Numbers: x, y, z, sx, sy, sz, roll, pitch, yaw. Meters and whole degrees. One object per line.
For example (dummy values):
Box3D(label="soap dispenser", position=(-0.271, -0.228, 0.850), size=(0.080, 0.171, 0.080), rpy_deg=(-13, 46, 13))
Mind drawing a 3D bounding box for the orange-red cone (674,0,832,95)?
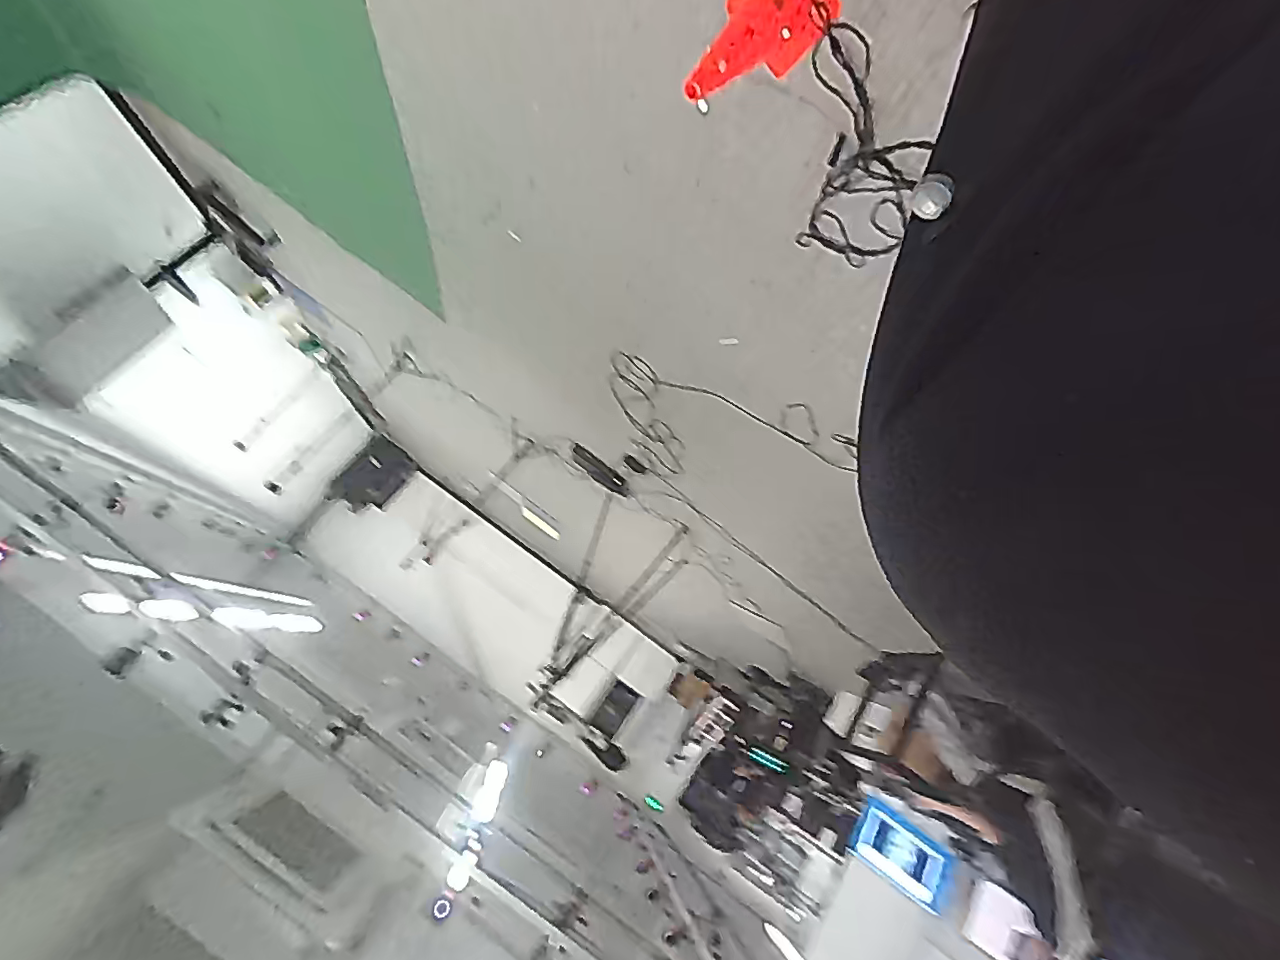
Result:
Box3D(label="orange-red cone", position=(0.184, -0.877, 1.081), size=(0.198, 0.360, 0.199), rpy_deg=(46, 160, -17))
